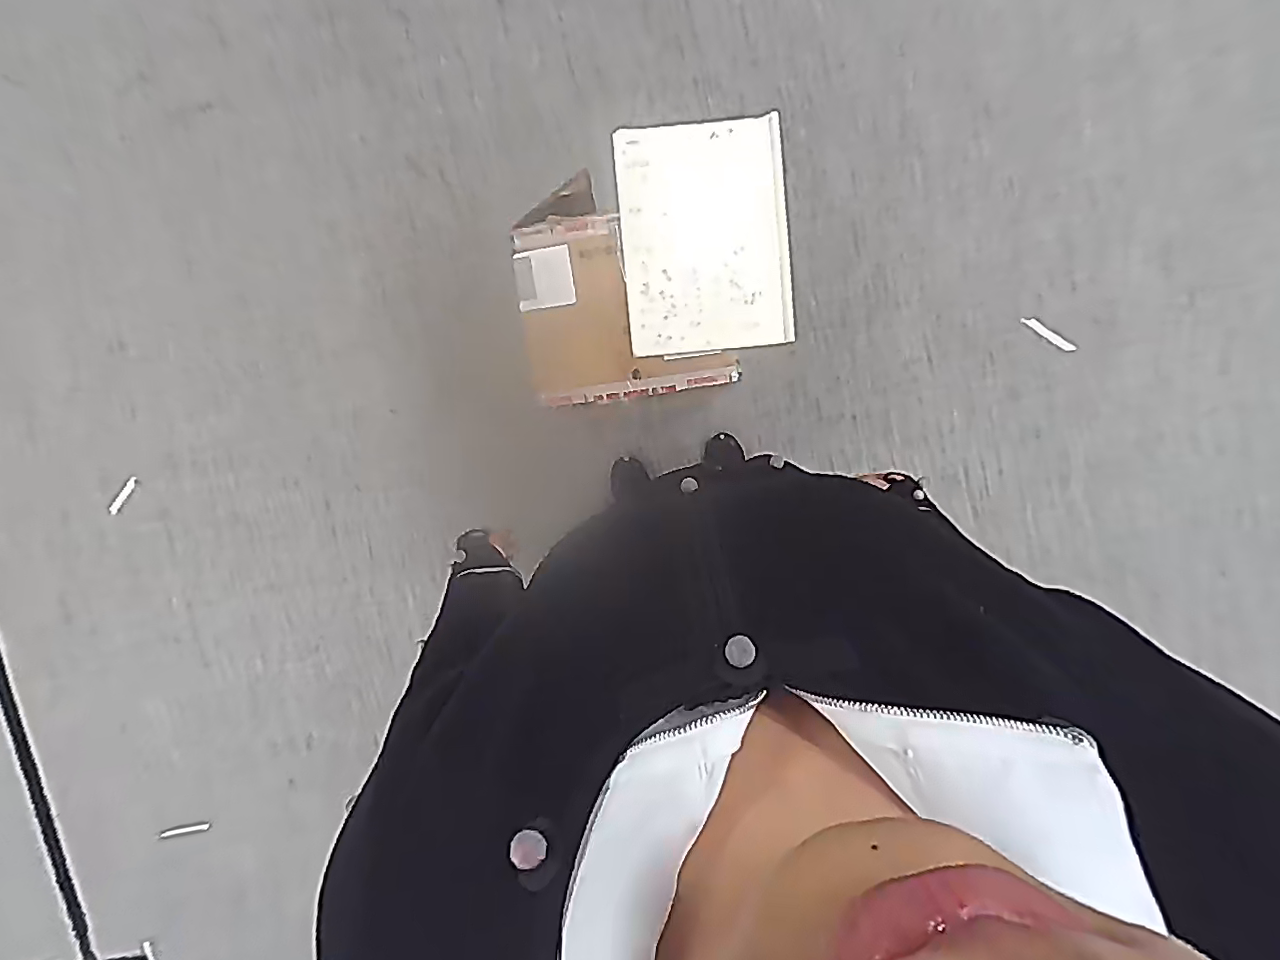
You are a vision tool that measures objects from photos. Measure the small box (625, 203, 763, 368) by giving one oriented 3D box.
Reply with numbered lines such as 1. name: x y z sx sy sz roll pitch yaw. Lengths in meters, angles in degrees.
1. small box: 0.066 -0.260 0.758 0.168 0.176 0.179 -6 96 0
